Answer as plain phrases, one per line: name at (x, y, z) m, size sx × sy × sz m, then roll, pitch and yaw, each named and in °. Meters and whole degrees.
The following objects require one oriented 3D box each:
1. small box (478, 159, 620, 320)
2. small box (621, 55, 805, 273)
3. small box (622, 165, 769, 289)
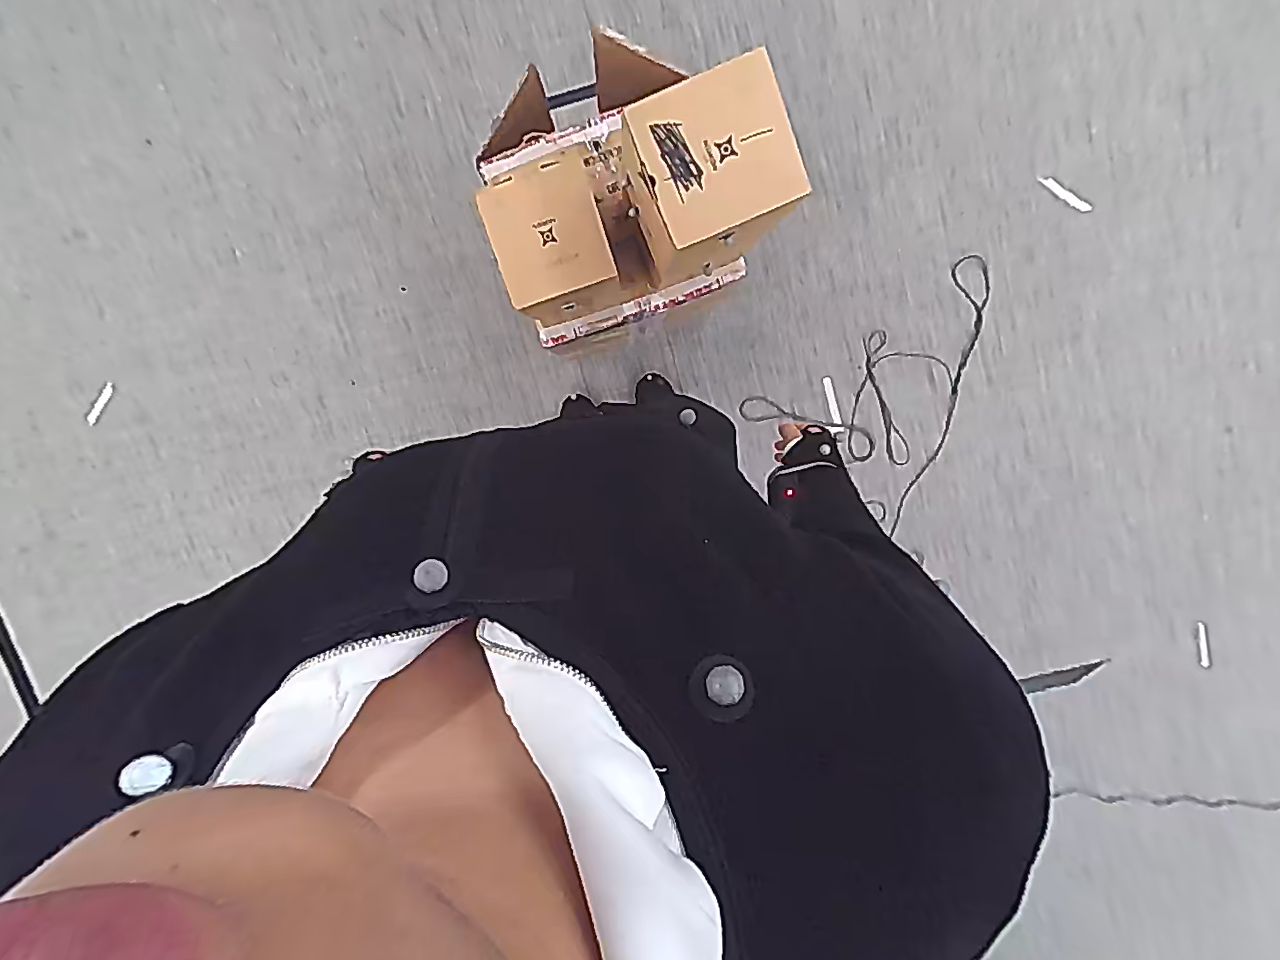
small box at (-0.136, -0.374, 0.875) m, size 0.168 × 0.176 × 0.179 m, roll -18°, pitch 102°, yaw 4°
small box at (0.086, -0.392, 0.709) m, size 0.179 × 0.176 × 0.168 m, roll -23°, pitch 101°, yaw 2°
small box at (0.079, -0.428, 0.870) m, size 0.179 × 0.176 × 0.168 m, roll -23°, pitch 101°, yaw 1°
